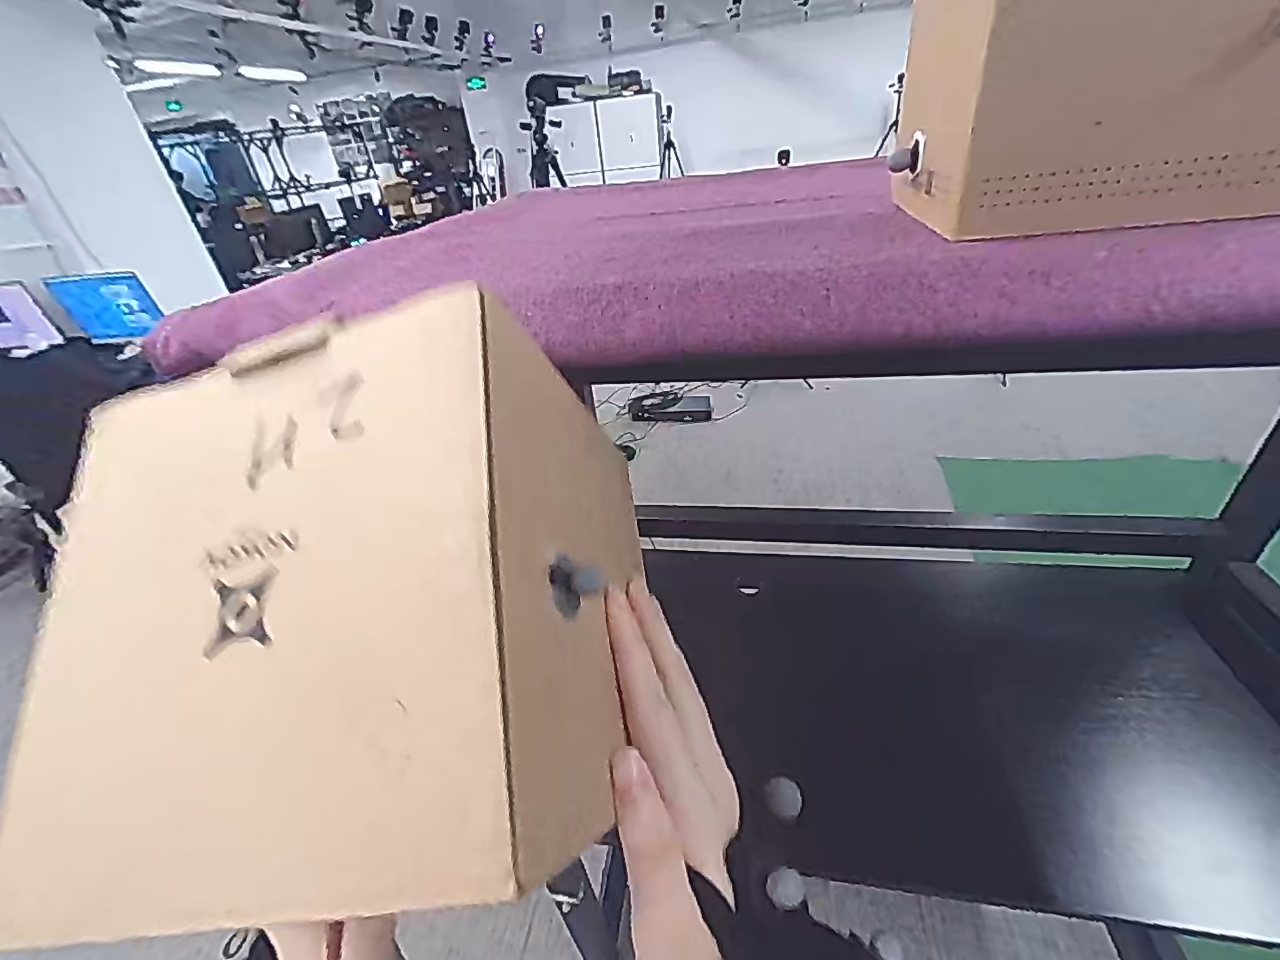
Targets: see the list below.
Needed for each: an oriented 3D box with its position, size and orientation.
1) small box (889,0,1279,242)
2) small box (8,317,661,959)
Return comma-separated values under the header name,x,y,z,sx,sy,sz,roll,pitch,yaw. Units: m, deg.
name,x,y,z,sx,sy,sz,roll,pitch,yaw
small box,0.261,-0.248,0.311,0.179,0.176,0.168,-2,34,11
small box,-0.096,0.066,0.243,0.168,0.176,0.179,-14,68,10
